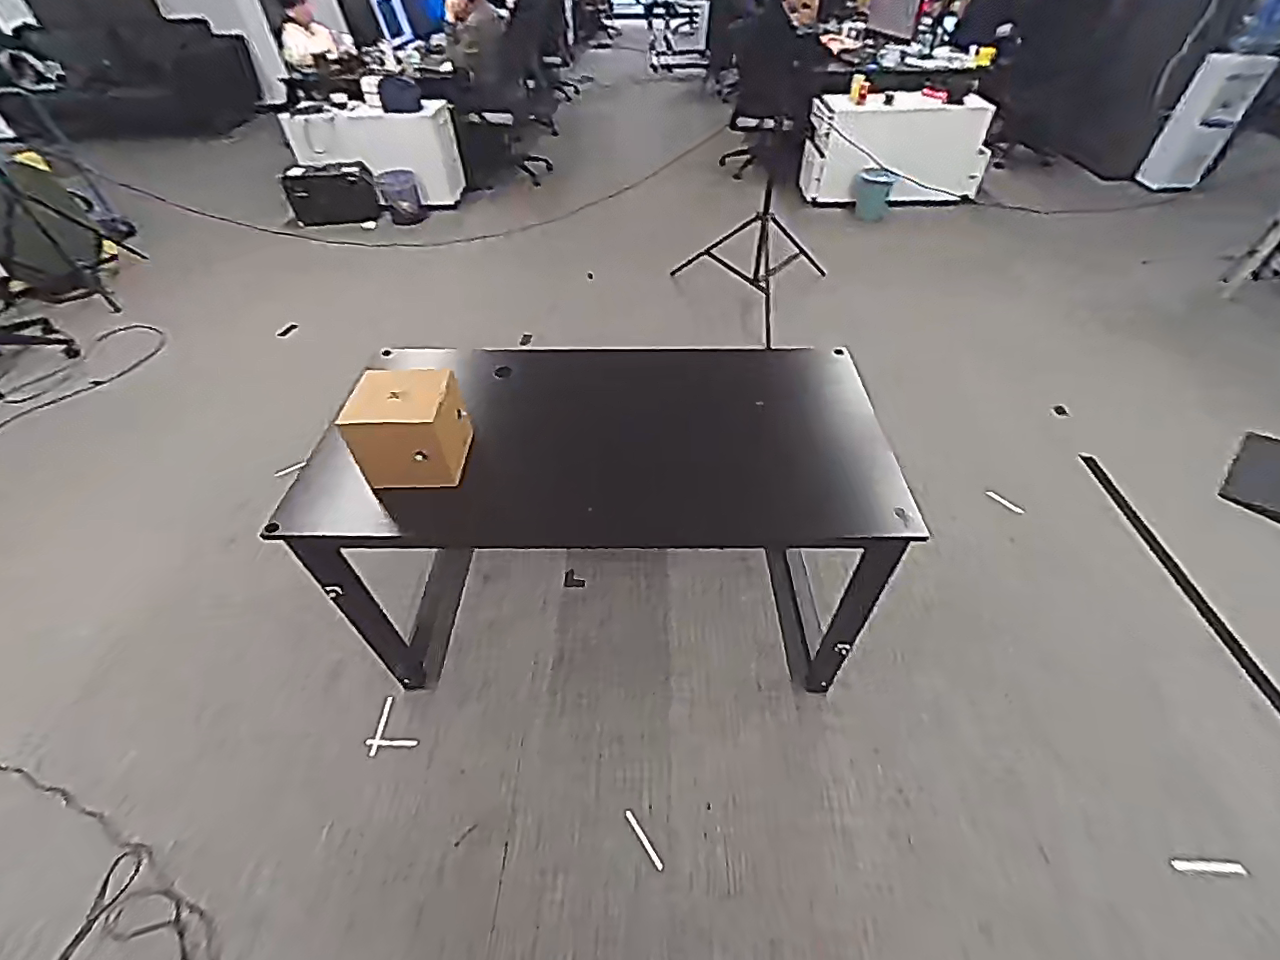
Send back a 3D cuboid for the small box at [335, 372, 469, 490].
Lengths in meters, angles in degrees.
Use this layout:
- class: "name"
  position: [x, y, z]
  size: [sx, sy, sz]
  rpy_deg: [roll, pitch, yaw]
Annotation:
- class: "small box"
  position: [-0.449, -0.095, 1.060]
  size: [0.179, 0.176, 0.168]
  rpy_deg: [-2, 45, 0]
